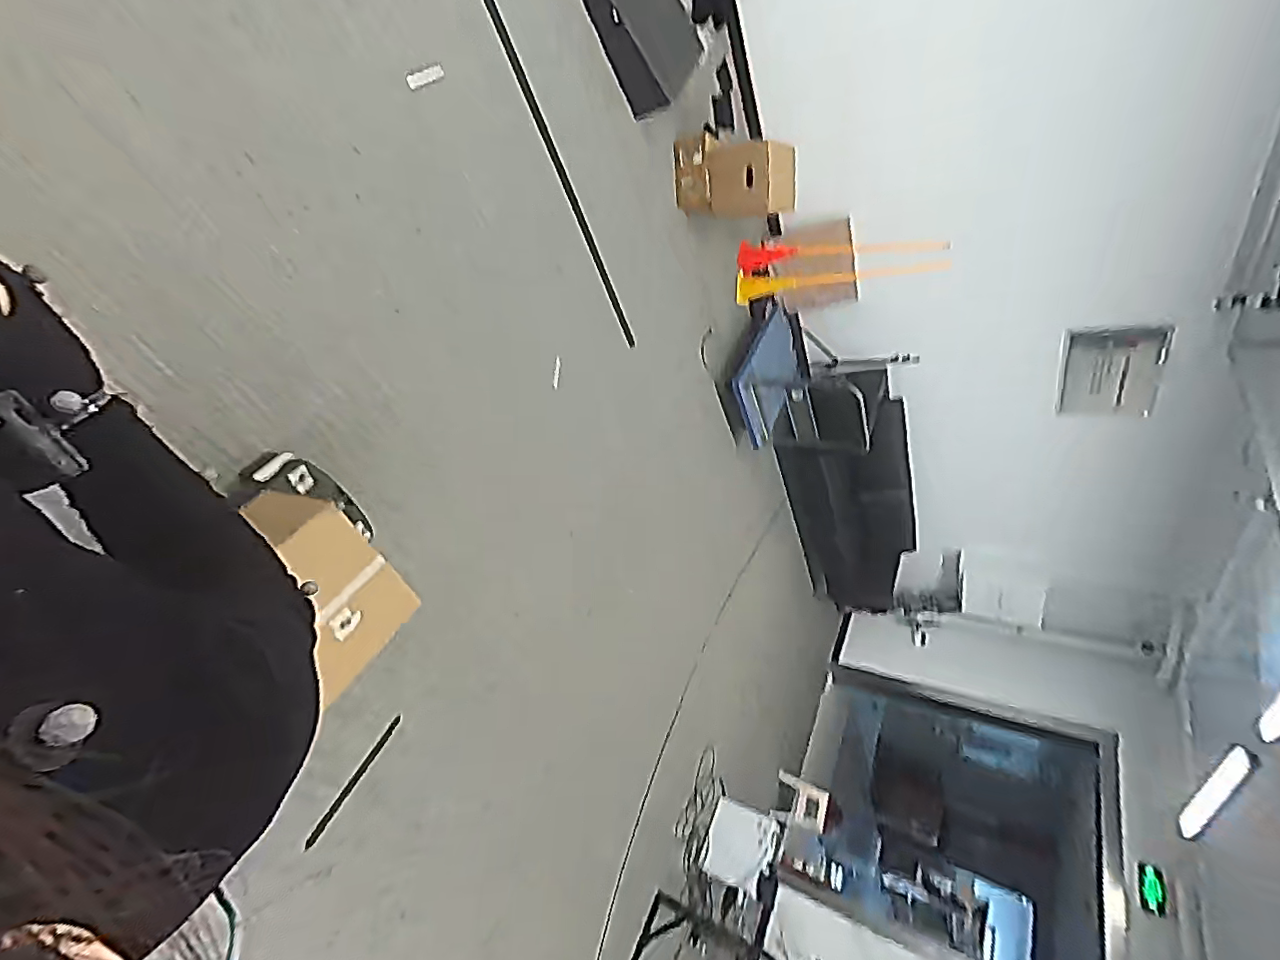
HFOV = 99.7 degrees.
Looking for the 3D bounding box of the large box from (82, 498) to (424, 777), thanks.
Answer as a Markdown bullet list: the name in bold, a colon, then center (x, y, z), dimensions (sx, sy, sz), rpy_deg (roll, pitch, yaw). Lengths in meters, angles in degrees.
- **large box**: center (-0.740, 0.285, 1.082), dimensions (0.408, 0.320, 0.320), rpy_deg (-55, 136, -38)
